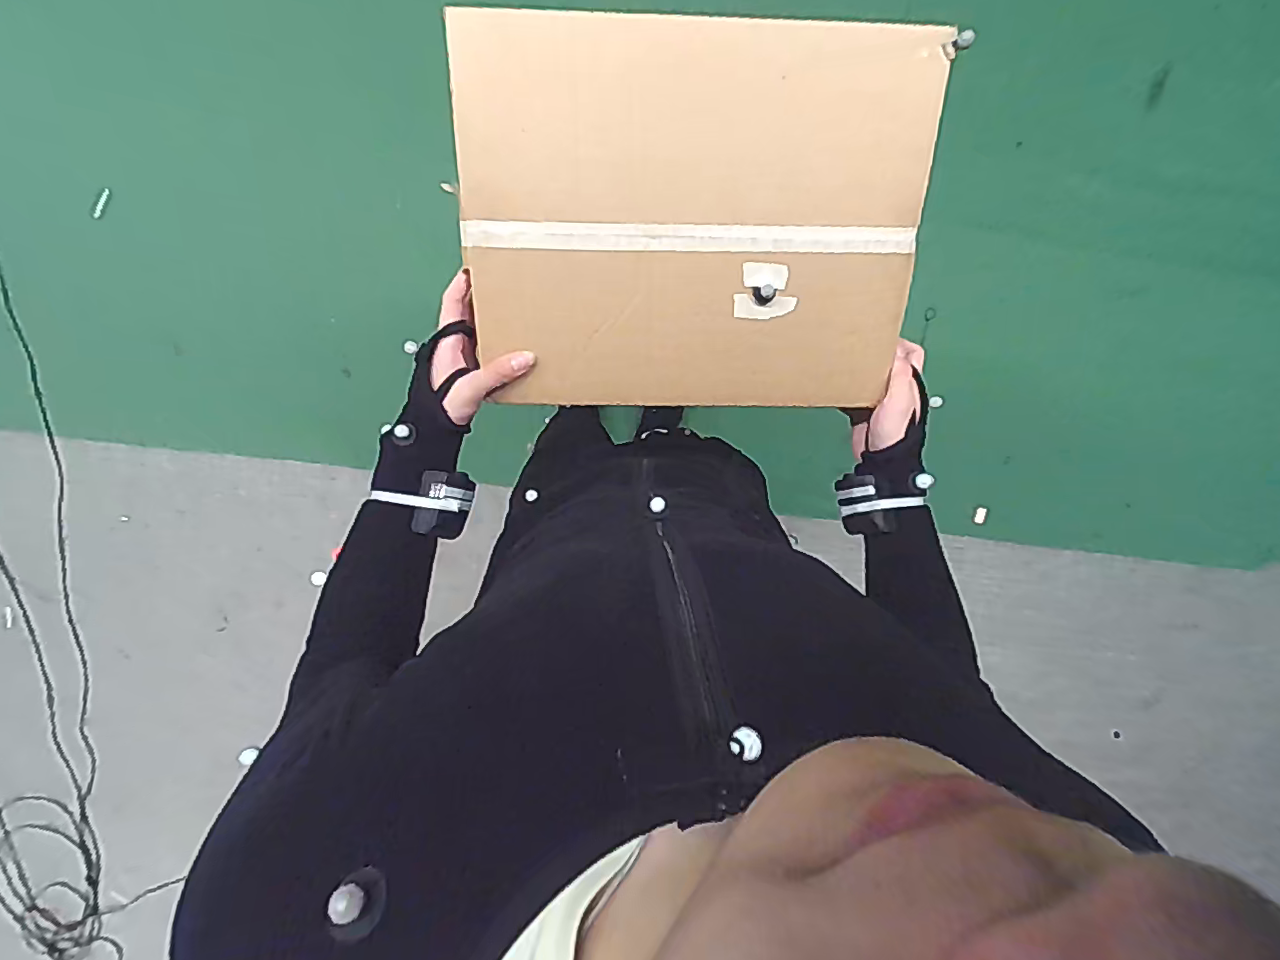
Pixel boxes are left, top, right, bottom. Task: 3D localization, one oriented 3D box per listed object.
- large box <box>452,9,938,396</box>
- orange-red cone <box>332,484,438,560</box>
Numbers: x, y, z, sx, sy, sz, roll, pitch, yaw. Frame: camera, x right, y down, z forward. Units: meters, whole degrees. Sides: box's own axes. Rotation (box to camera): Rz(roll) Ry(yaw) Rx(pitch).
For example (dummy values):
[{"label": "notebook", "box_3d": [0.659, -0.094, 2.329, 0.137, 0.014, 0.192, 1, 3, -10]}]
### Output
[{"label": "large box", "box_3d": [0.039, -0.287, 0.628, 0.408, 0.320, 0.320, 0, 114, -3]}, {"label": "orange-red cone", "box_3d": [-0.734, 0.150, 1.491, 0.199, 0.360, 0.198, 14, 99, -1]}]
